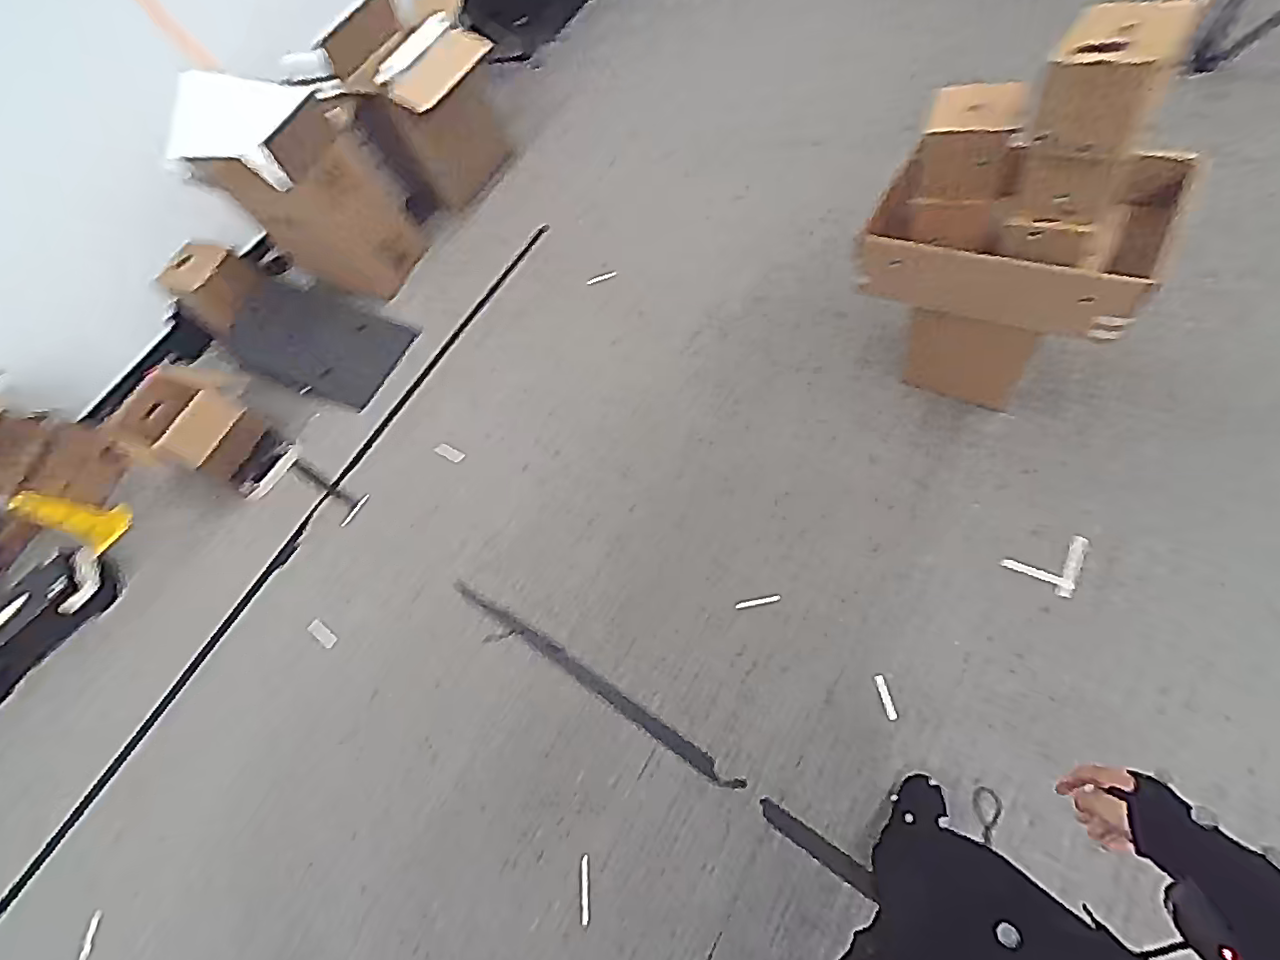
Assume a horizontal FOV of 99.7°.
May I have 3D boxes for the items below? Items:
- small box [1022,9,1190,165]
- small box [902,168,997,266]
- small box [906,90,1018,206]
[{"bbox_3d":[0.840,-0.717,0.997,0.168,0.176,0.179,31,76,33],"label":"small box"},{"bbox_3d":[0.786,-0.683,1.389,0.168,0.176,0.179,16,69,25],"label":"small box"},{"bbox_3d":[0.739,-0.763,1.254,0.179,0.176,0.168,15,68,24],"label":"small box"}]
